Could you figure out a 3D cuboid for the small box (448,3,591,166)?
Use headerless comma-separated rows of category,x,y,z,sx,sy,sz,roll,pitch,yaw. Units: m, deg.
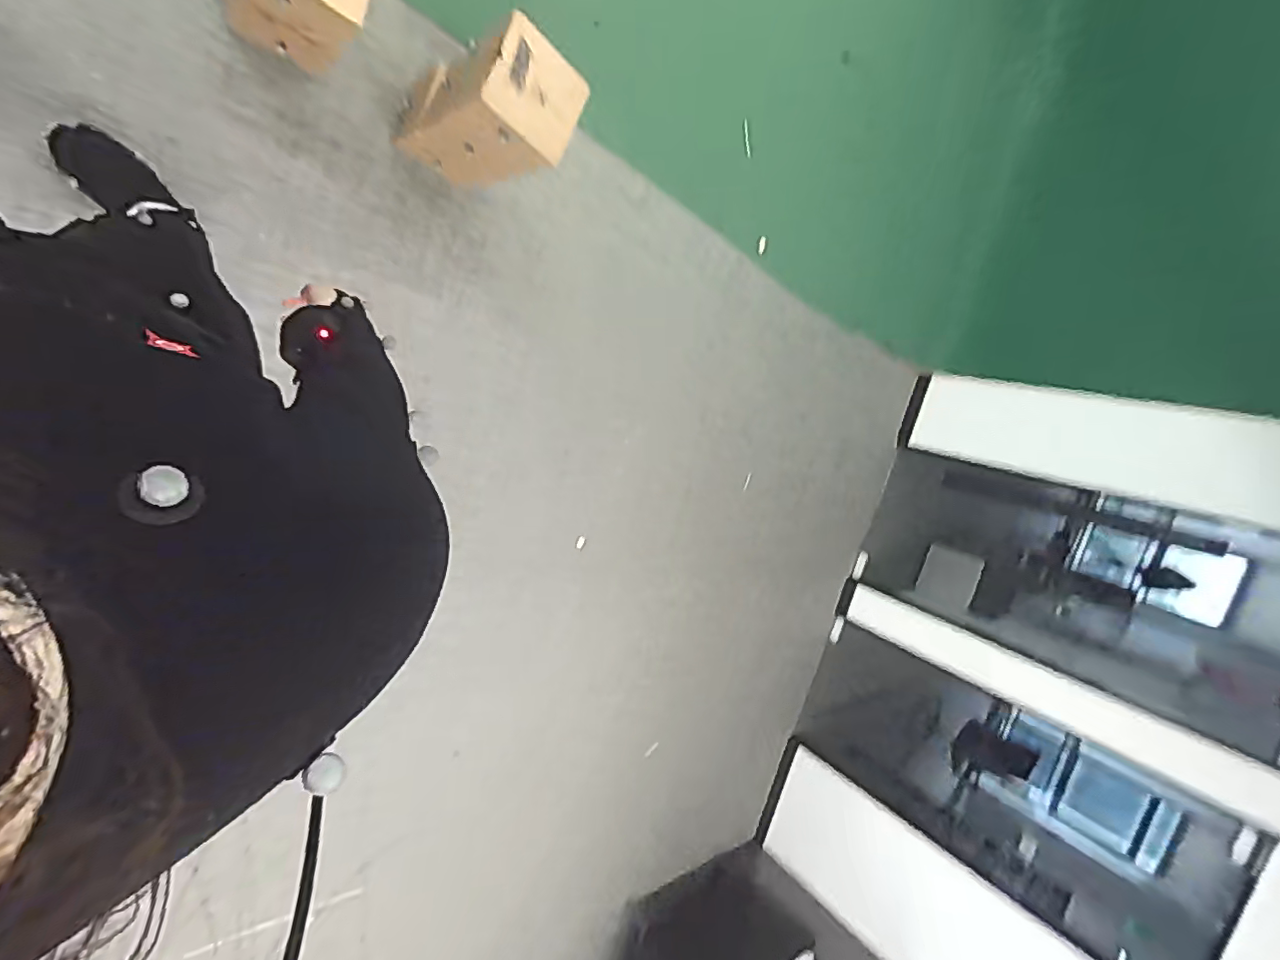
small box,-0.232,-0.725,1.020,0.179,0.176,0.168,23,92,-45

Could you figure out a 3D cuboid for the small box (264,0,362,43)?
small box,-0.555,-0.883,0.897,0.168,0.176,0.179,10,99,-43

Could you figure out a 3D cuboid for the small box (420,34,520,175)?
small box,-0.332,-0.773,1.141,0.179,0.176,0.168,26,90,-45
